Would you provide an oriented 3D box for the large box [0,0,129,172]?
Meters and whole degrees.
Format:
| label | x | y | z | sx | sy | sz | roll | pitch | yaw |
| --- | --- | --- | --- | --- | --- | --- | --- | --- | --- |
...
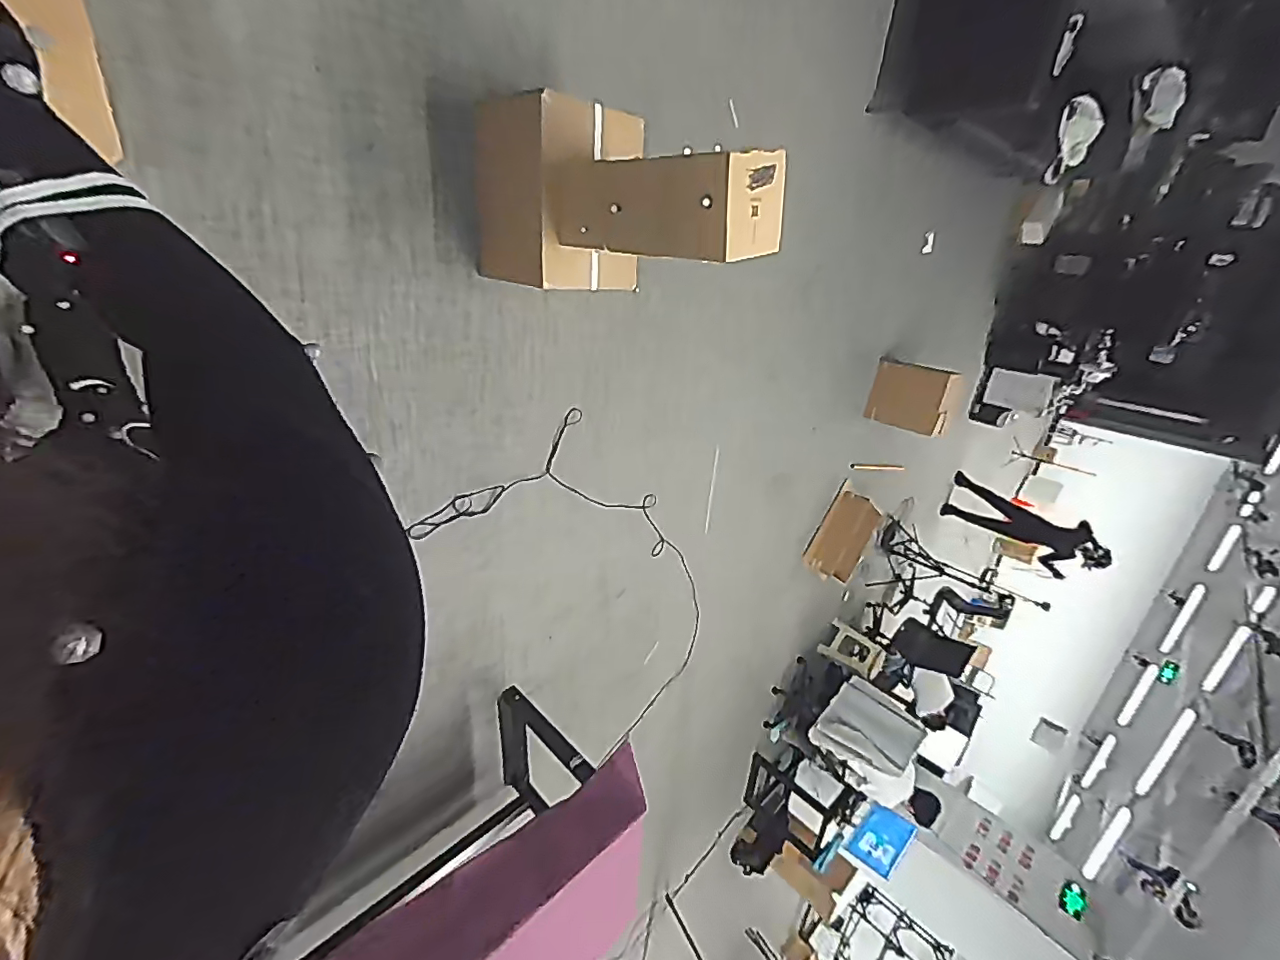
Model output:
| label | x | y | z | sx | sy | sz | roll | pitch | yaw |
| --- | --- | --- | --- | --- | --- | --- | --- | --- | --- |
| large box | -0.929 | -0.643 | 0.692 | 0.320 | 0.320 | 0.408 | -18 | 122 | -40 |

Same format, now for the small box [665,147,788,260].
| label | x | y | z | sx | sy | sz | roll | pitch | yaw |
| --- | --- | --- | --- | --- | --- | --- | --- | --- | --- |
| small box | 0.159 | -0.528 | 1.032 | 0.168 | 0.176 | 0.179 | -26 | 128 | -34 |

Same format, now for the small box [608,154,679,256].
| label | x | y | z | sx | sy | sz | roll | pitch | yaw |
| --- | --- | --- | --- | --- | --- | --- | --- | --- | --- |
| small box | 0.048 | -0.584 | 1.141 | 0.168 | 0.176 | 0.179 | -26 | 128 | -35 |

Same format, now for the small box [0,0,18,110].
| label | x | y | z | sx | sy | sz | roll | pitch | yaw |
| --- | --- | --- | --- | --- | --- | --- | --- | --- | --- |
| small box | -0.771 | -0.512 | 0.551 | 0.168 | 0.176 | 0.179 | -4 | 114 | -45 |
